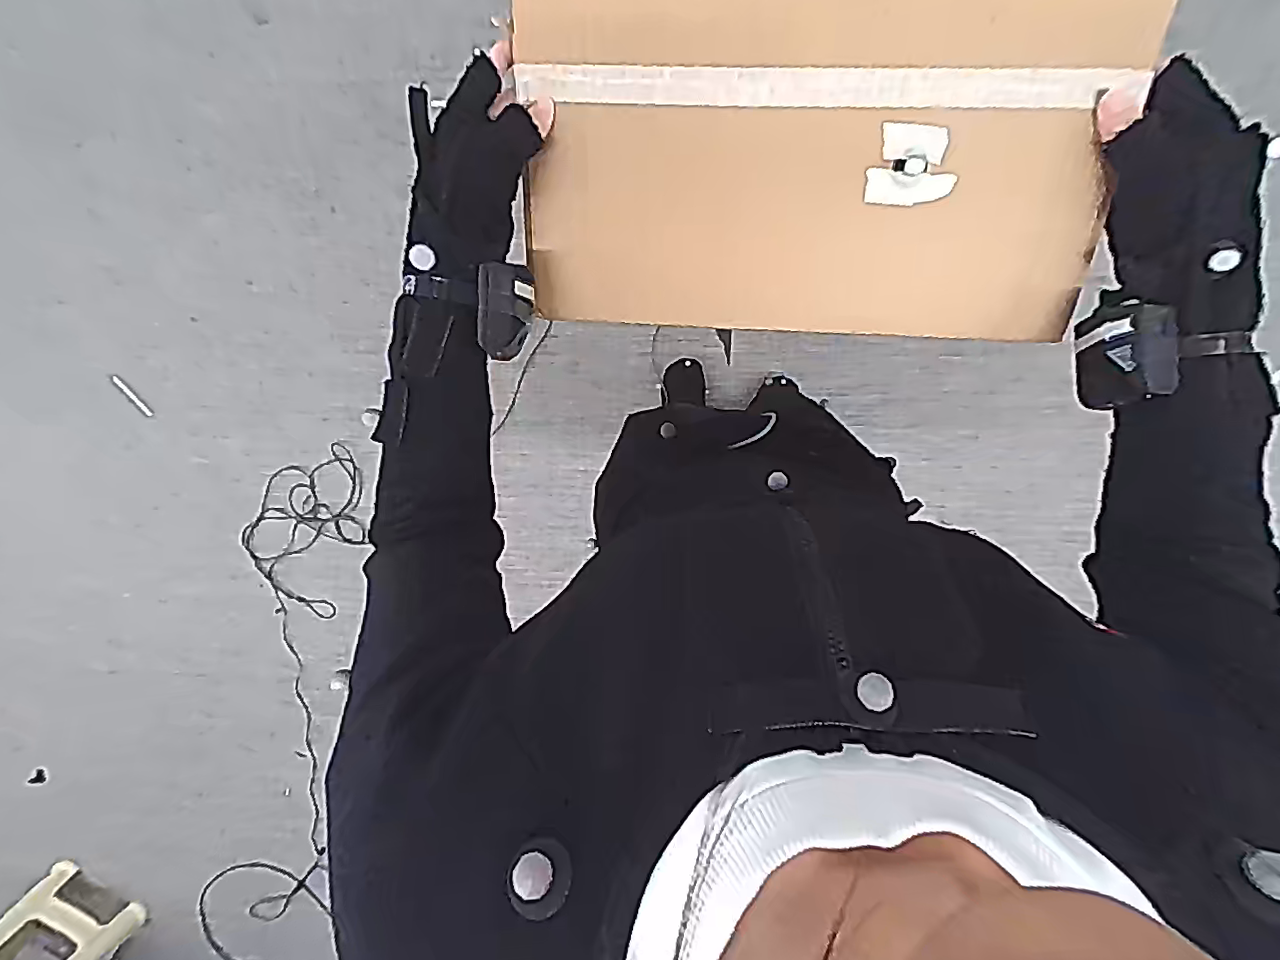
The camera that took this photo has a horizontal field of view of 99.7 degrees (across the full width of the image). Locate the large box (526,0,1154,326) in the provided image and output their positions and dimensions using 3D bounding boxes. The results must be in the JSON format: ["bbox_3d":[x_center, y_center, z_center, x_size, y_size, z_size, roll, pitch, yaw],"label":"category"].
[{"bbox_3d":[0.129,-0.325,0.504,0.408,0.320,0.320,3,114,4],"label":"large box"}]
